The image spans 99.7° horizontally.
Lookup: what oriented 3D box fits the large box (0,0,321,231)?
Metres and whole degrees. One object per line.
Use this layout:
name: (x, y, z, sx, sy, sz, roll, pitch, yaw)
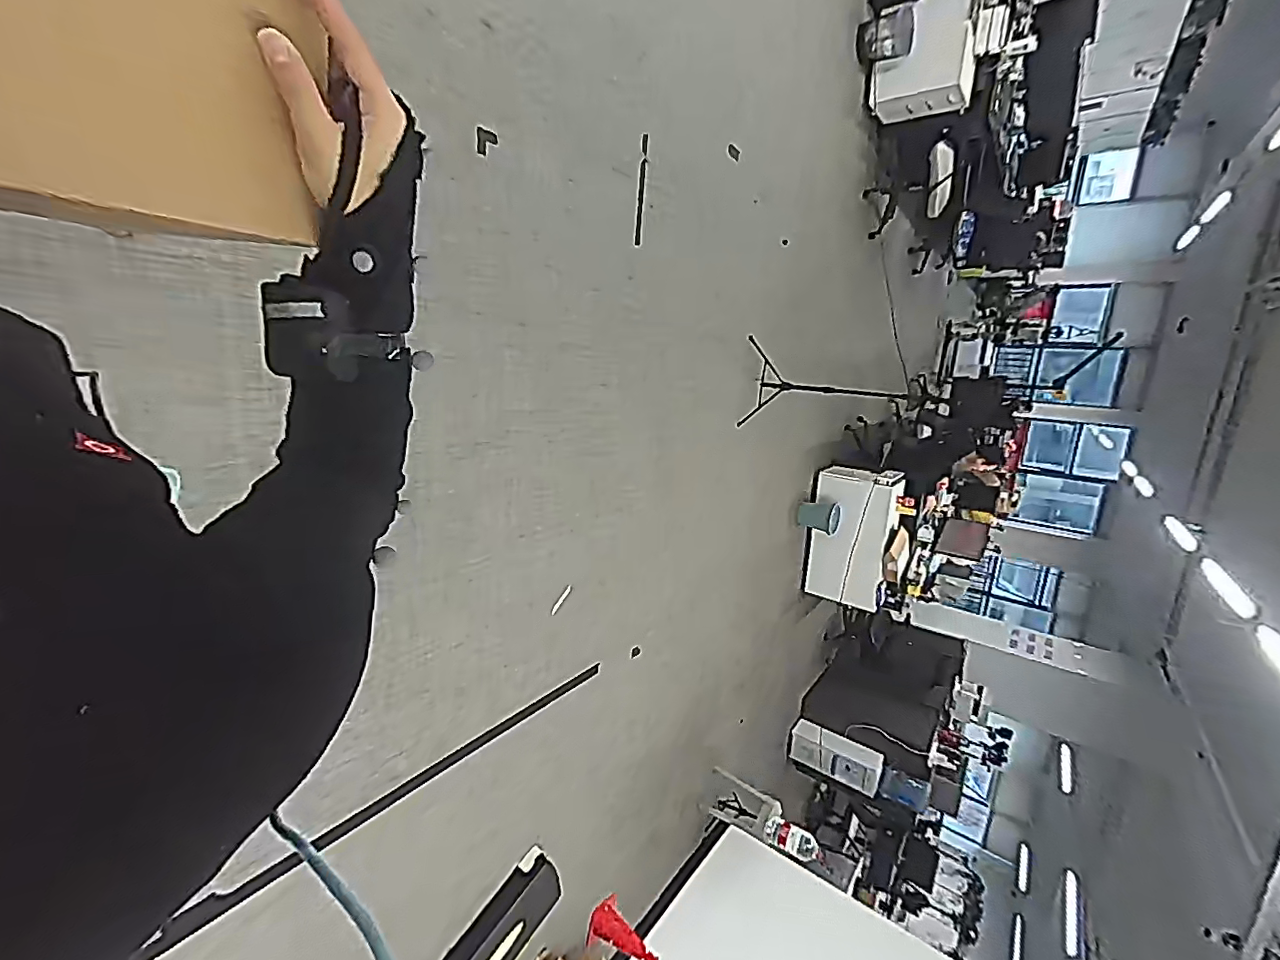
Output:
large box: (-0.422, -0.311, 0.223, 0.408, 0.320, 0.320, -17, 120, -56)
